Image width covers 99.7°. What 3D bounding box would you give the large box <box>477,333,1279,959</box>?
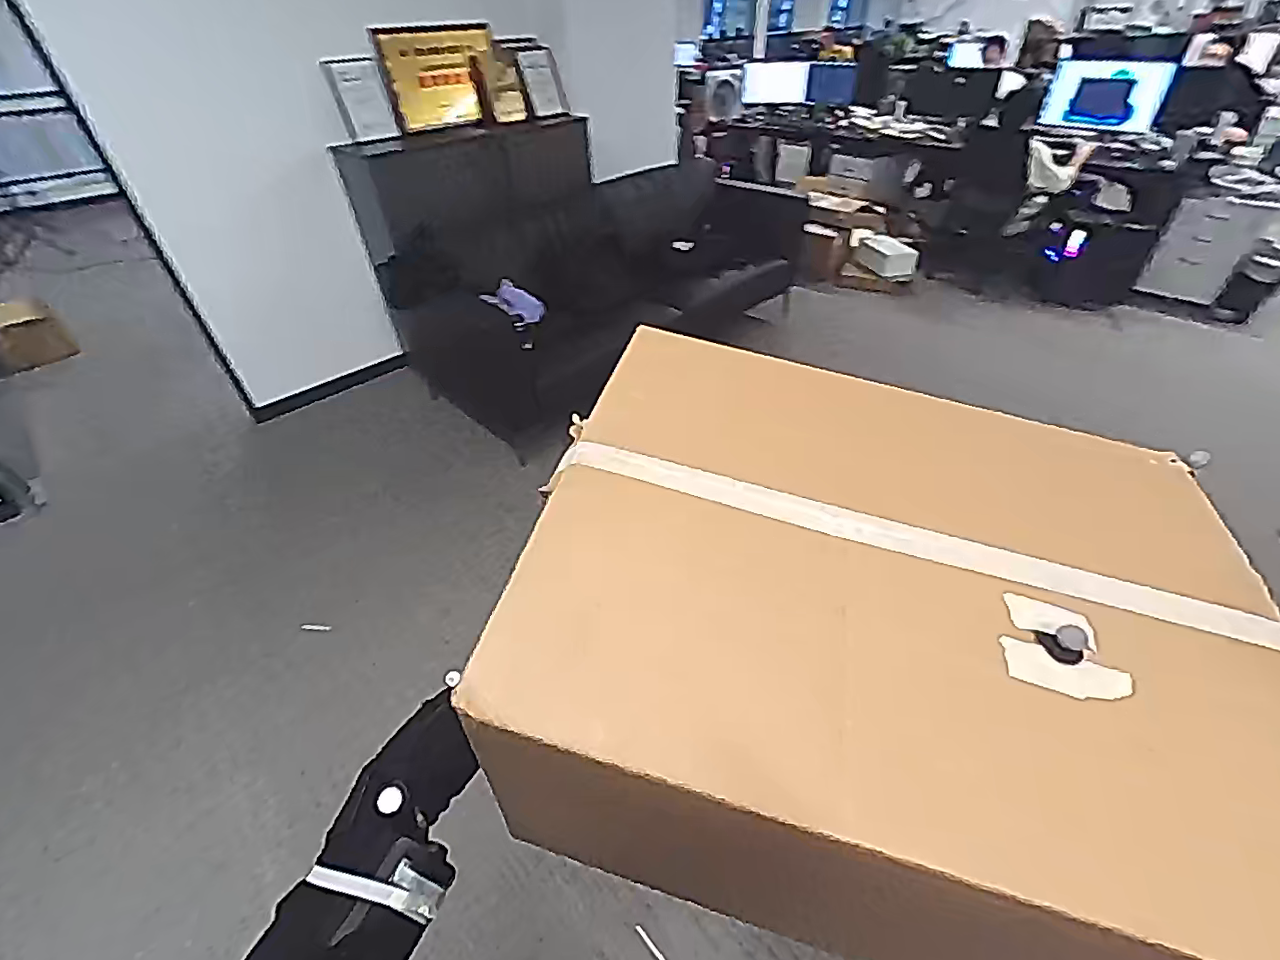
[{"bbox_3d":[0.133,0.134,0.431,0.408,0.320,0.320,16,49,5],"label":"large box"}]
